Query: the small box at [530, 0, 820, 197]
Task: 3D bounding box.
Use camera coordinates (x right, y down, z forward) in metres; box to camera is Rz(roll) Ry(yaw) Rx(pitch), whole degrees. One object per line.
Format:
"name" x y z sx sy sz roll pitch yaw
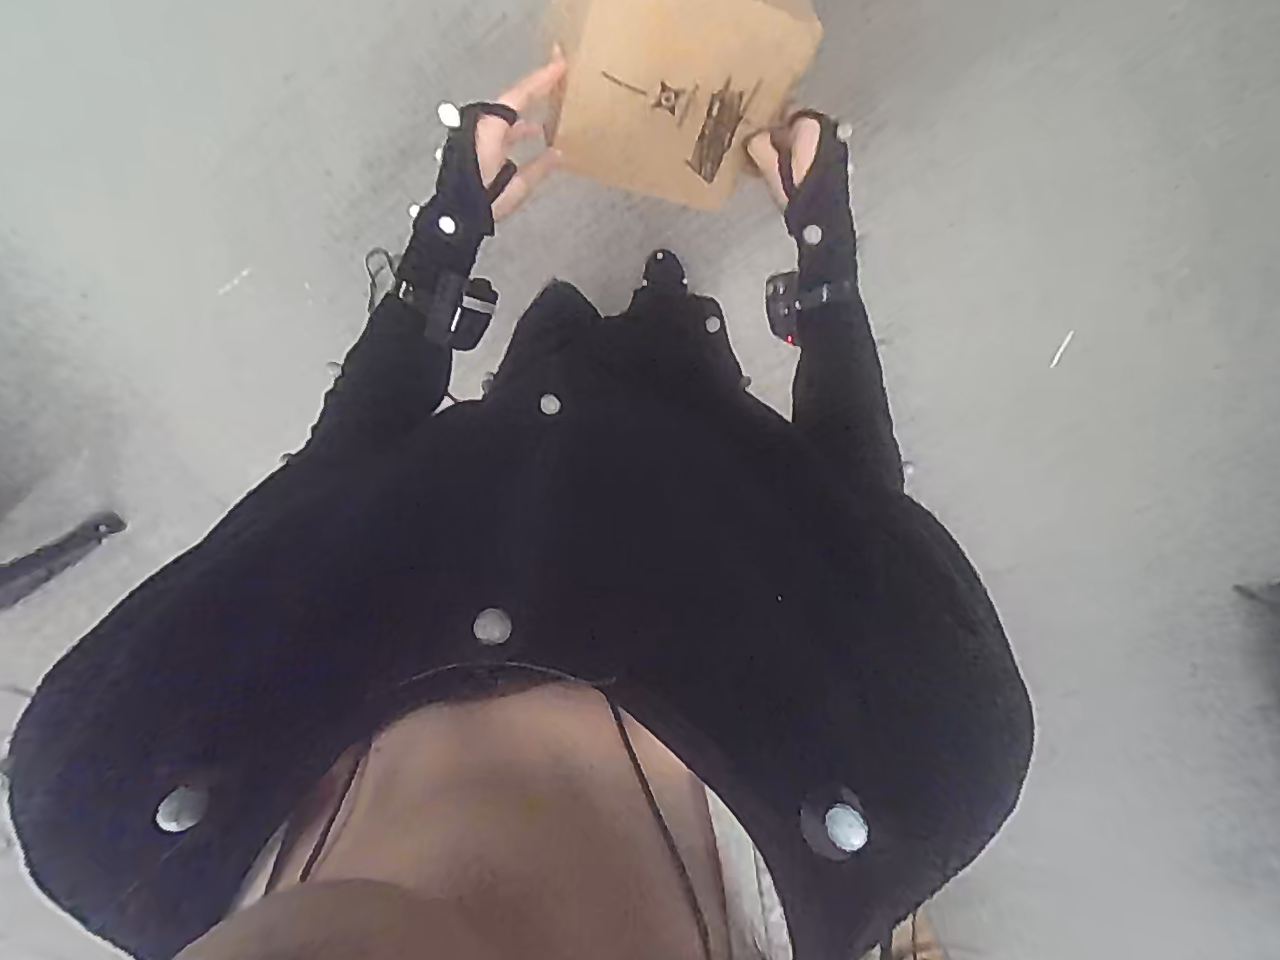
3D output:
"small box" 0.013 -0.384 0.458 0.179 0.176 0.168 2 154 -24
